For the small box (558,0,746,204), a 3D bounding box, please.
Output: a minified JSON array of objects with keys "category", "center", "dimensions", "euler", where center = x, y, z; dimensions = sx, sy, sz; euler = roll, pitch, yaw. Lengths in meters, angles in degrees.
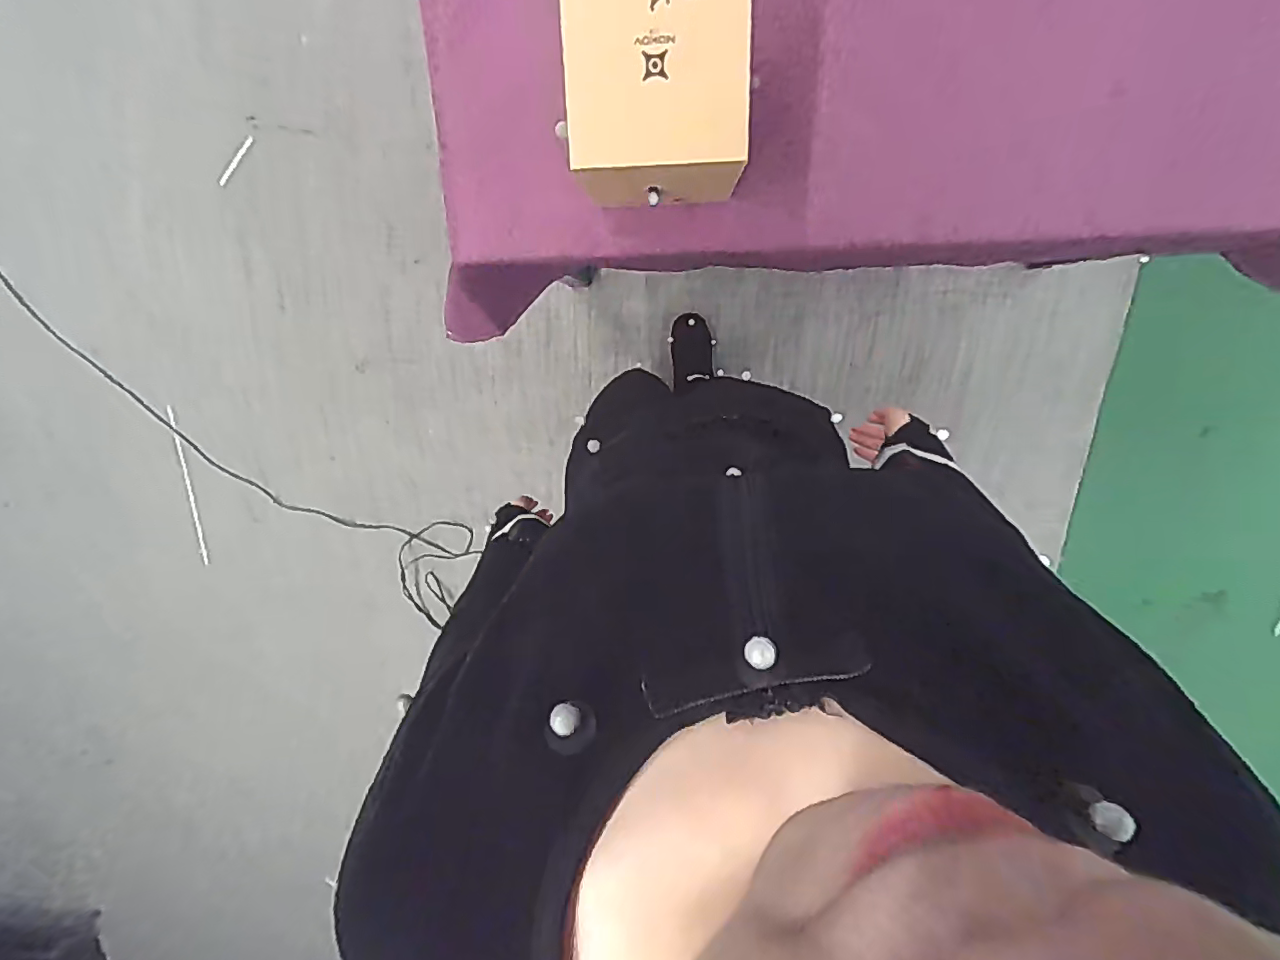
[{"category":"small box","center":[0.015,-0.392,0.554],"dimensions":[0.168,0.176,0.179],"euler":[-1,105,3]}]
